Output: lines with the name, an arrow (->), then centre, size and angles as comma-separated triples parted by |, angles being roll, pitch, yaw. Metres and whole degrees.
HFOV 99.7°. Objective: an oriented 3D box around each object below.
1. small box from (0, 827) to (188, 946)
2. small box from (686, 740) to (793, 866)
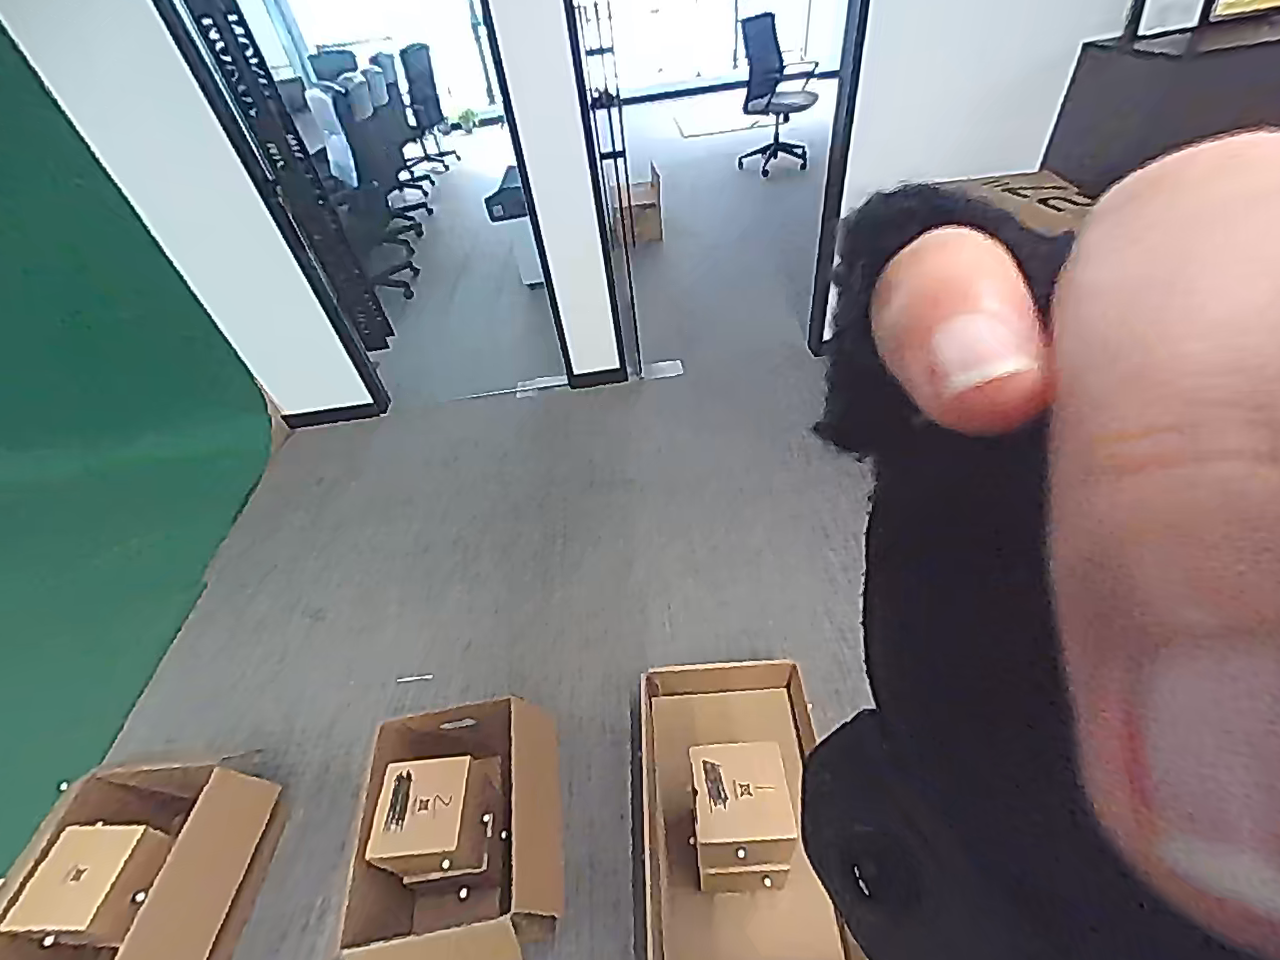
small box -> -1.071, 0.810, 1.078 | 0.179, 0.176, 0.168 | -3, 43, 3
small box -> 0.185, 0.629, 1.050 | 0.179, 0.176, 0.168 | -4, 42, 1
